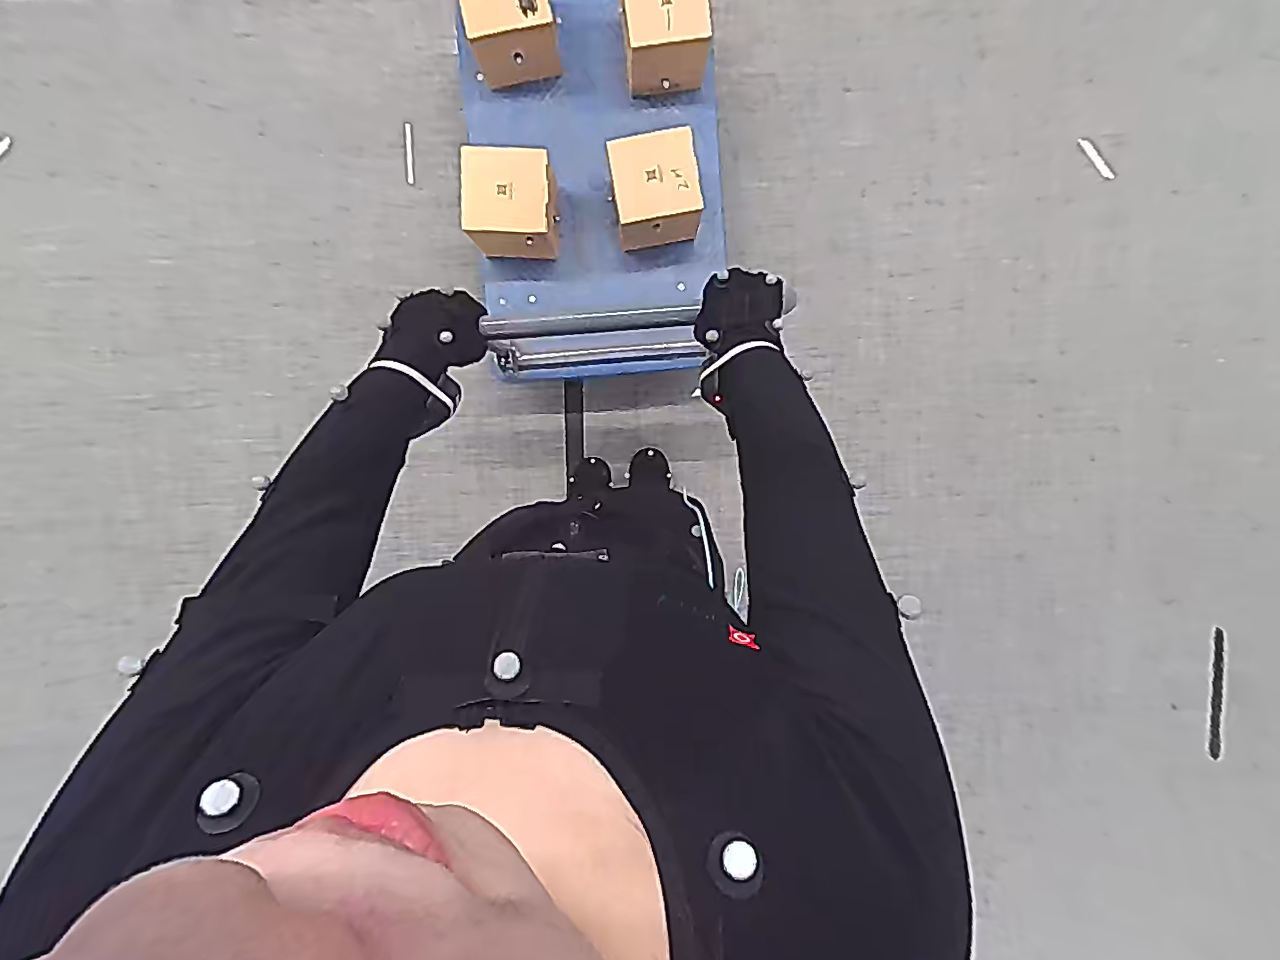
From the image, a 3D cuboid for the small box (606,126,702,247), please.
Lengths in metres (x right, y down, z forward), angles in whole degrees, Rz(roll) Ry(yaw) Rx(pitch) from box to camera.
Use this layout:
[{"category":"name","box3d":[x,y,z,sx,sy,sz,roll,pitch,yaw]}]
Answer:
[{"category":"small box","box3d":[0.031,-0.626,1.175,0.179,0.176,0.168,-10,96,1]}]

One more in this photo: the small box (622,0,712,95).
[{"category":"small box","box3d":[0.051,-0.962,1.144,0.168,0.176,0.179,-7,96,0]}]

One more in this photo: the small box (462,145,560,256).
[{"category":"small box","box3d":[-0.275,-0.599,1.177,0.179,0.176,0.168,1,95,-2]}]
